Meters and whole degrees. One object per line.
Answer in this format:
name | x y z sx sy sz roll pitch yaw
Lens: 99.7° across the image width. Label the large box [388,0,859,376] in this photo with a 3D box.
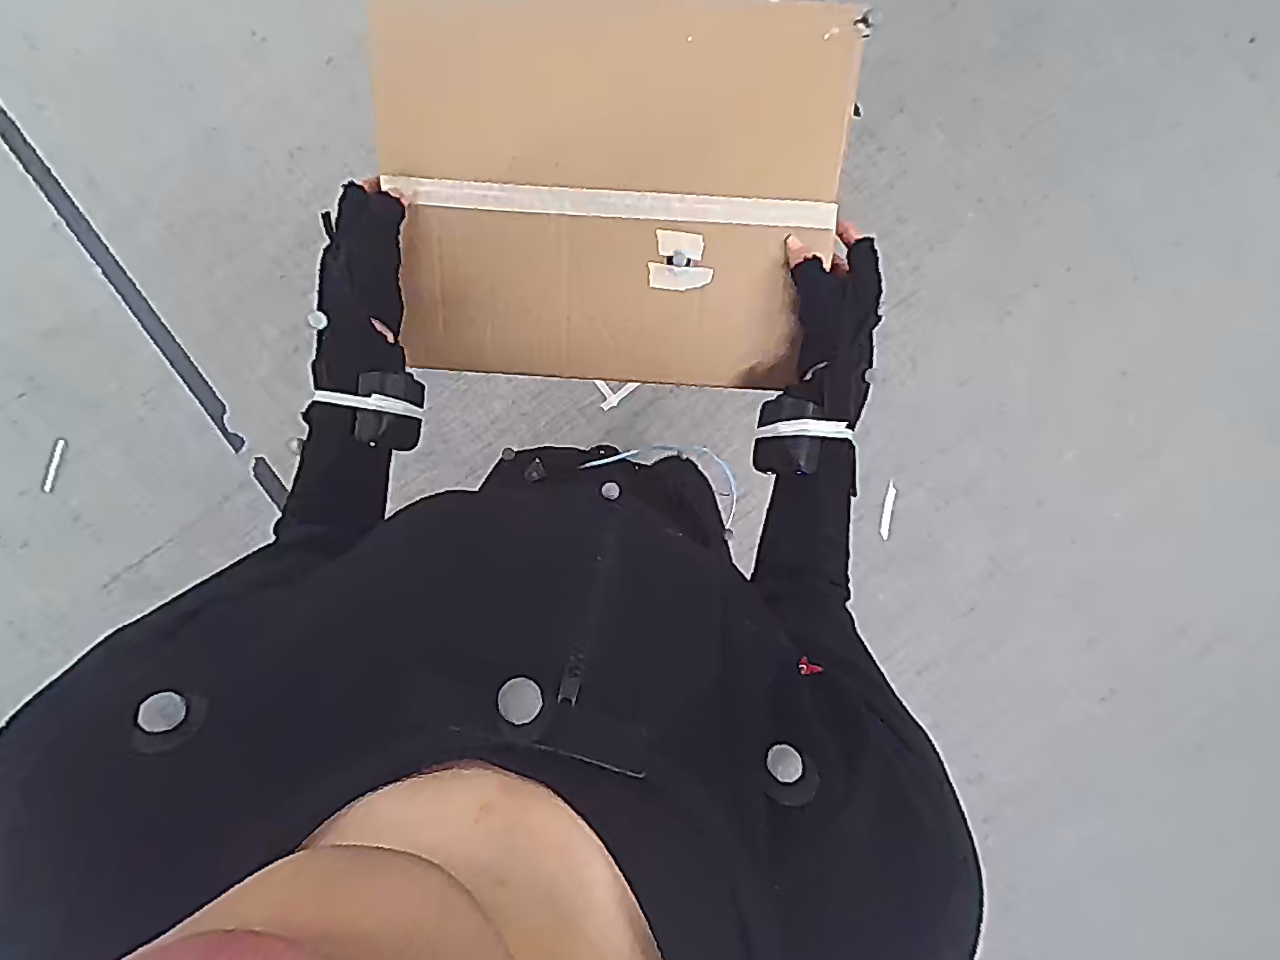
large box | -0.023 -0.307 0.638 0.408 0.320 0.320 4 110 -1
